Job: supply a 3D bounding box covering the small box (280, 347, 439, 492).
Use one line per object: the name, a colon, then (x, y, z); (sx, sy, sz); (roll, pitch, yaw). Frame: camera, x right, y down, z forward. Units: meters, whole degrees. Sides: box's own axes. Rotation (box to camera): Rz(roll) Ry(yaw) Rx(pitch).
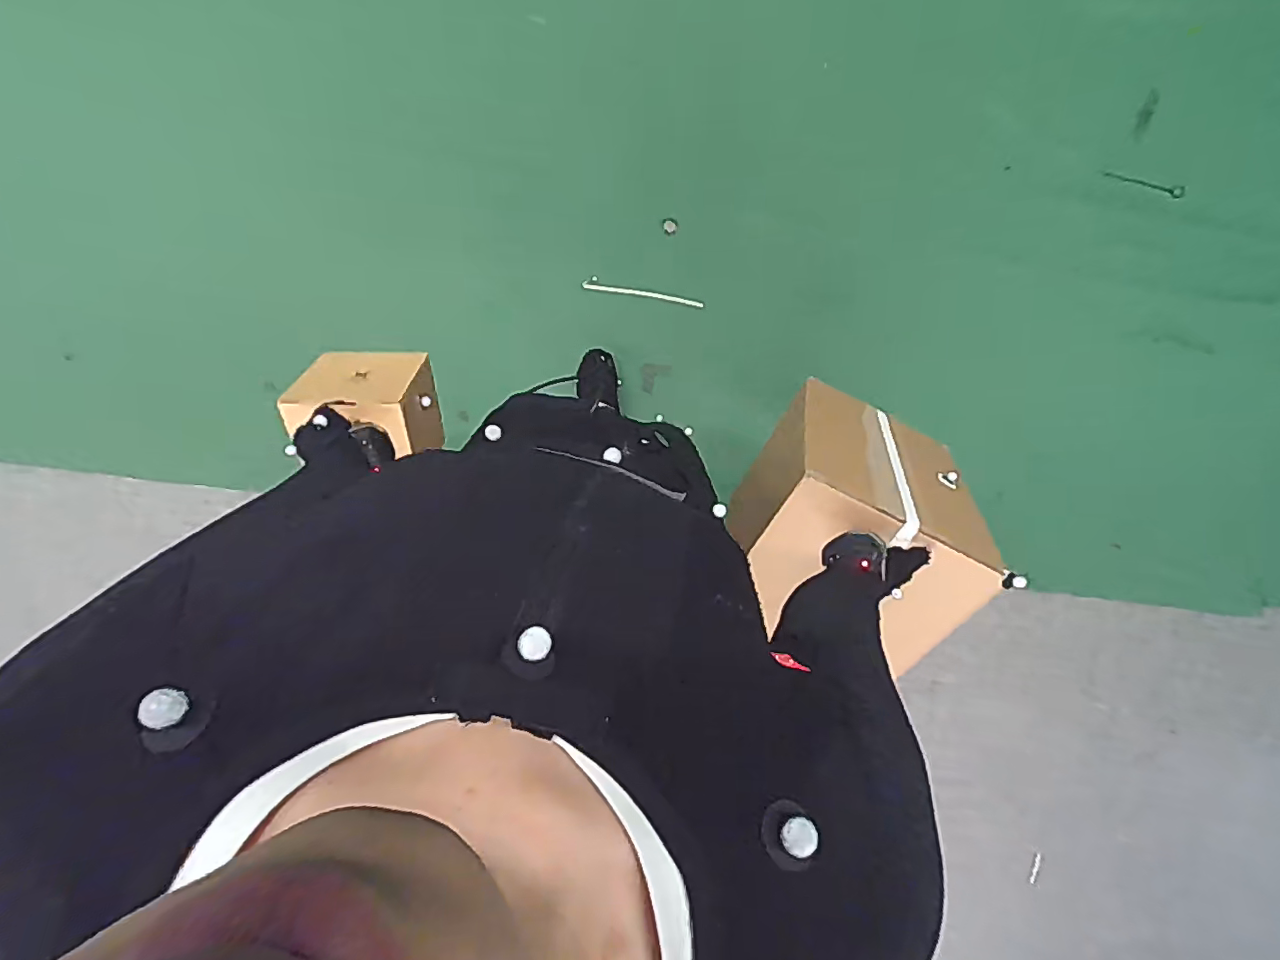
small box: (-0.431, -0.099, 0.869); (0.168, 0.179, 0.176); (0, 127, -6)
